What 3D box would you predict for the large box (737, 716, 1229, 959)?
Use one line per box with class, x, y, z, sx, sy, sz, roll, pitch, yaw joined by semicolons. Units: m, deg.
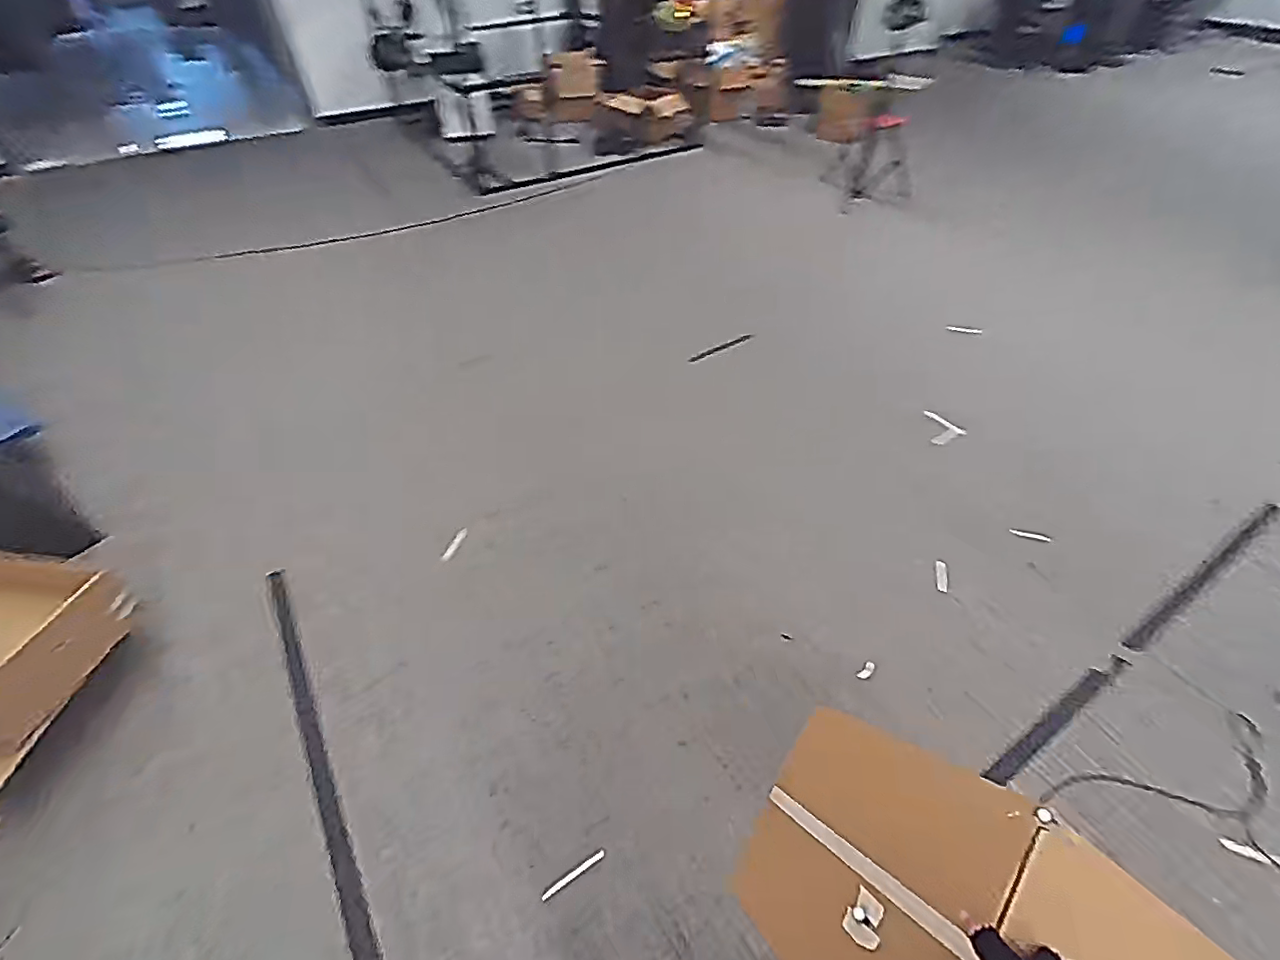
large box;0.403;0.579;0.706;0.320;0.408;0.320;39;75;-7
